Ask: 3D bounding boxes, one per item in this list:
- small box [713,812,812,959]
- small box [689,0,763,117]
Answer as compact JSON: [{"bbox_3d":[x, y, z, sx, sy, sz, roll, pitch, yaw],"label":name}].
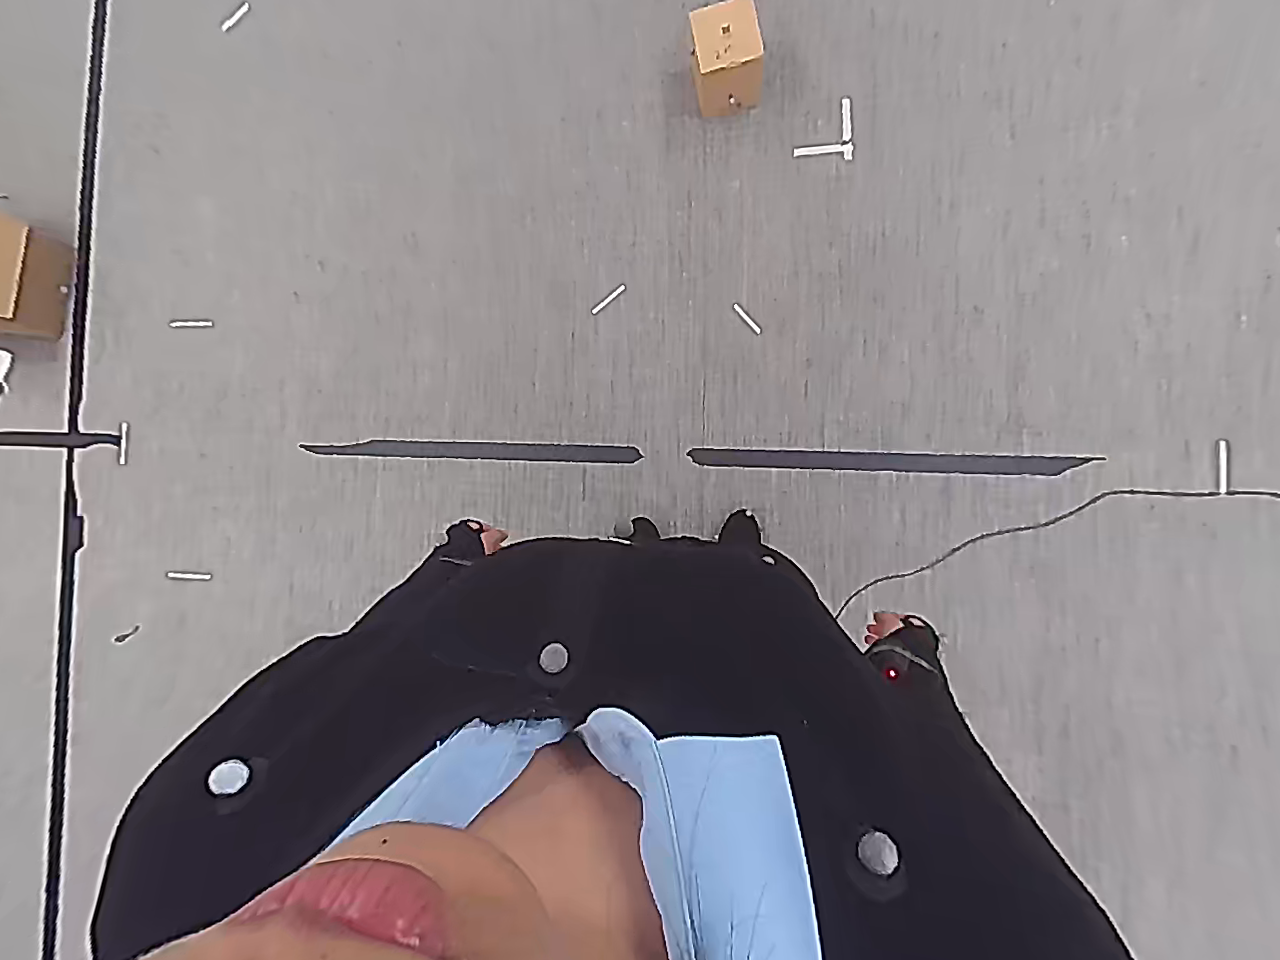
[{"bbox_3d":[0.223,0.767,1.016,0.168,0.176,0.179,1,86,7],"label":"small box"},{"bbox_3d":[0.227,-1.130,1.452,0.168,0.176,0.179,-11,86,7],"label":"small box"}]
